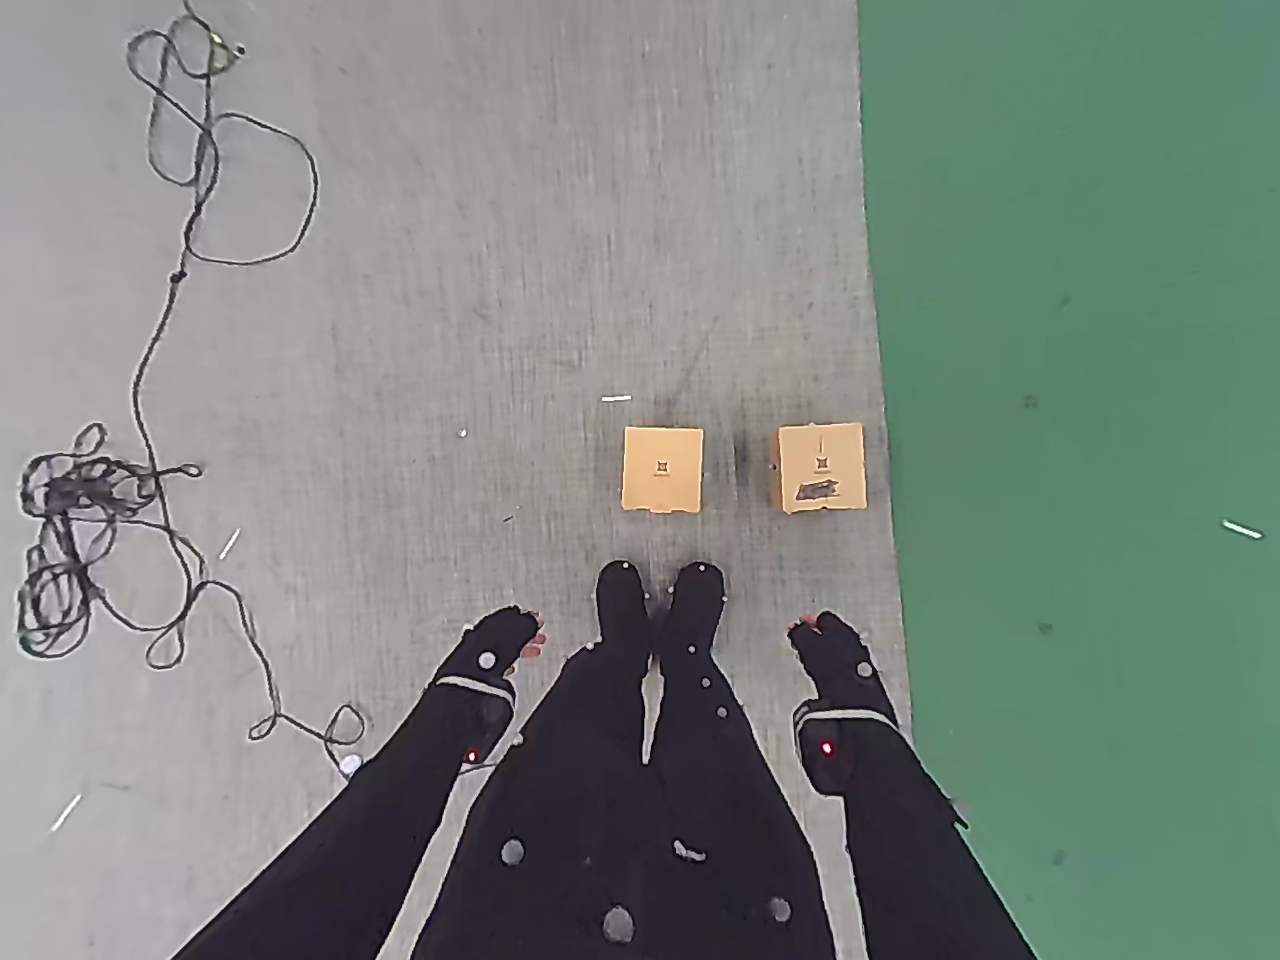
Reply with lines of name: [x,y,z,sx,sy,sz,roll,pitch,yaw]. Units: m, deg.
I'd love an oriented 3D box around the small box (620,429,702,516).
small box: [0.051,-0.015,1.204,0.168,0.176,0.179,2,90,6]

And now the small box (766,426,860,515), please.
small box: [0.368,-0.018,1.169,0.168,0.176,0.179,-3,88,6]
